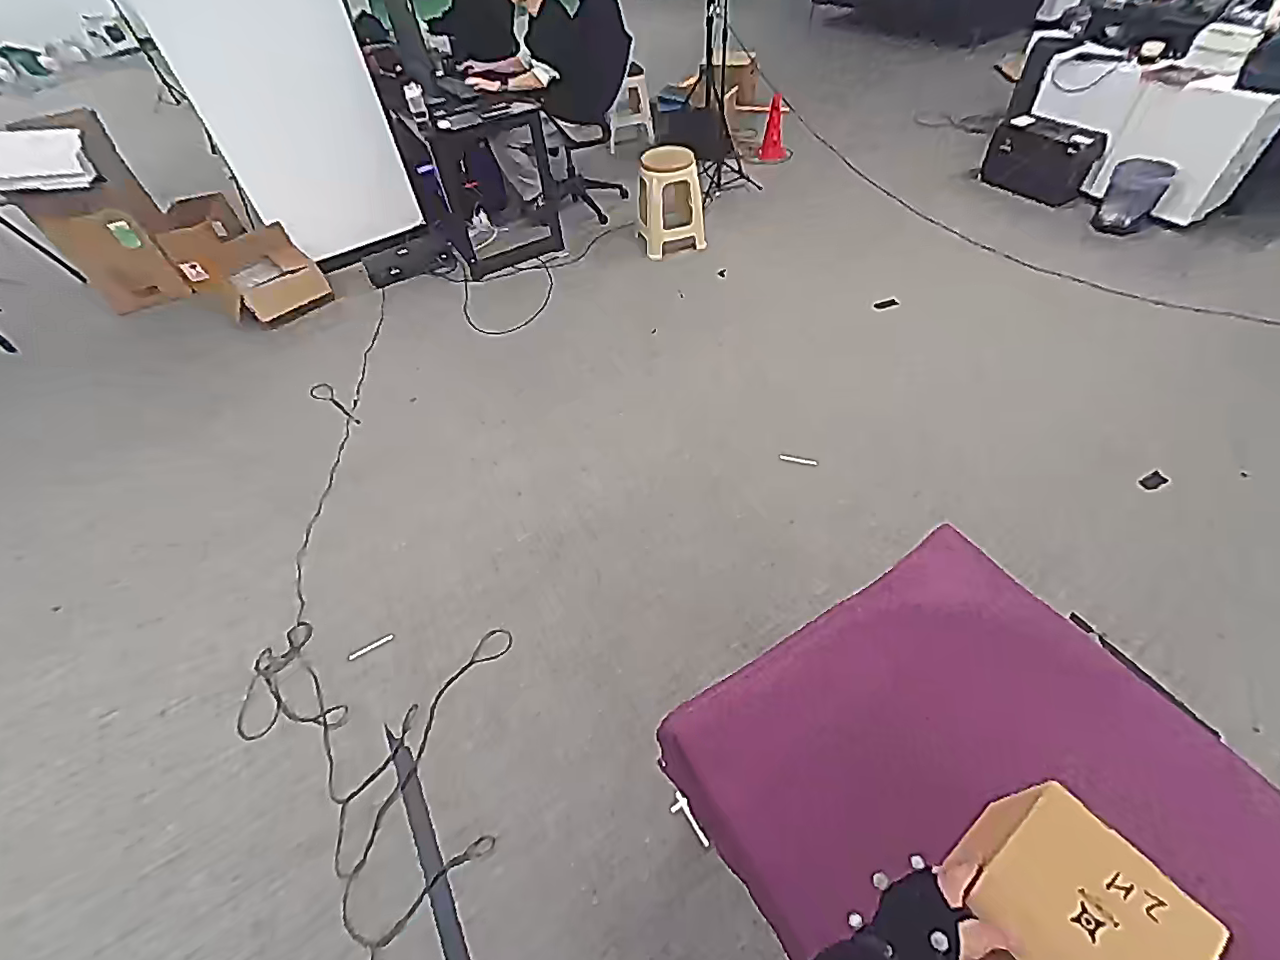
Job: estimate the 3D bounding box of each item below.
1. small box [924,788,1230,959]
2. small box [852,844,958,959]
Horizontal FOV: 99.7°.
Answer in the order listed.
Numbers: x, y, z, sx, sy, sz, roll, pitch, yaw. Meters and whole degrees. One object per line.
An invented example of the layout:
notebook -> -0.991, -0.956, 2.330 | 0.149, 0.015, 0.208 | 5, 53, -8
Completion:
small box -> 0.437, 0.474, 0.576 | 0.179, 0.176, 0.168 | -32, 56, -20
small box -> 0.546, 0.855, 1.053 | 0.168, 0.176, 0.179 | -29, 57, -18
